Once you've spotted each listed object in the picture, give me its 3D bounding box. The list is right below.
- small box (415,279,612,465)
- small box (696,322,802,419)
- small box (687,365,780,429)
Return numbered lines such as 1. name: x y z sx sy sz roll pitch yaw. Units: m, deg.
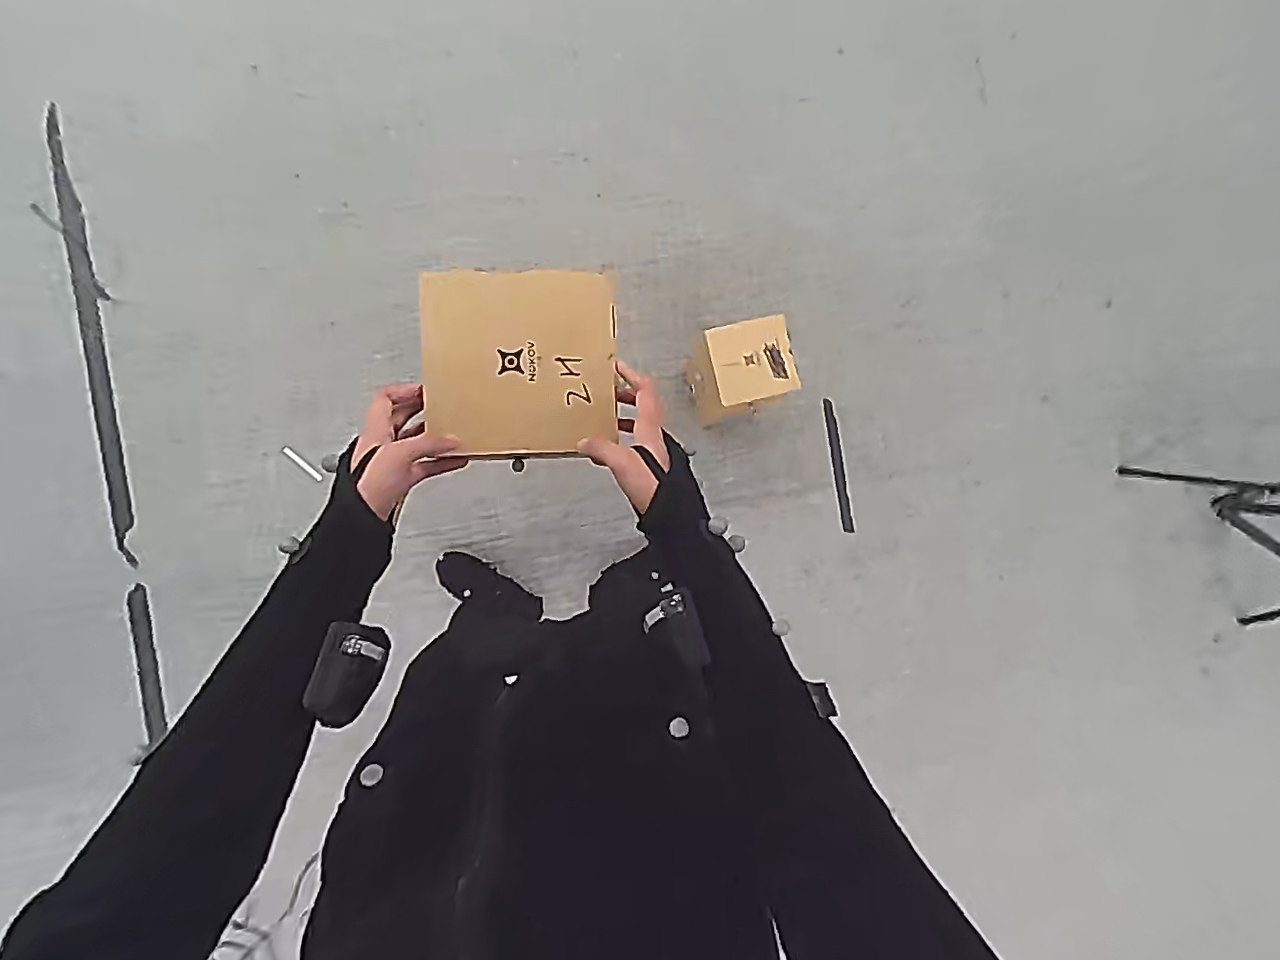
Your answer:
1. small box: -0.119 -0.101 0.570 0.179 0.176 0.168 -2 91 -5
2. small box: 0.237 -0.238 1.211 0.179 0.176 0.168 -13 91 -3
3. small box: 0.232 -0.233 1.375 0.179 0.176 0.168 -14 91 -4
